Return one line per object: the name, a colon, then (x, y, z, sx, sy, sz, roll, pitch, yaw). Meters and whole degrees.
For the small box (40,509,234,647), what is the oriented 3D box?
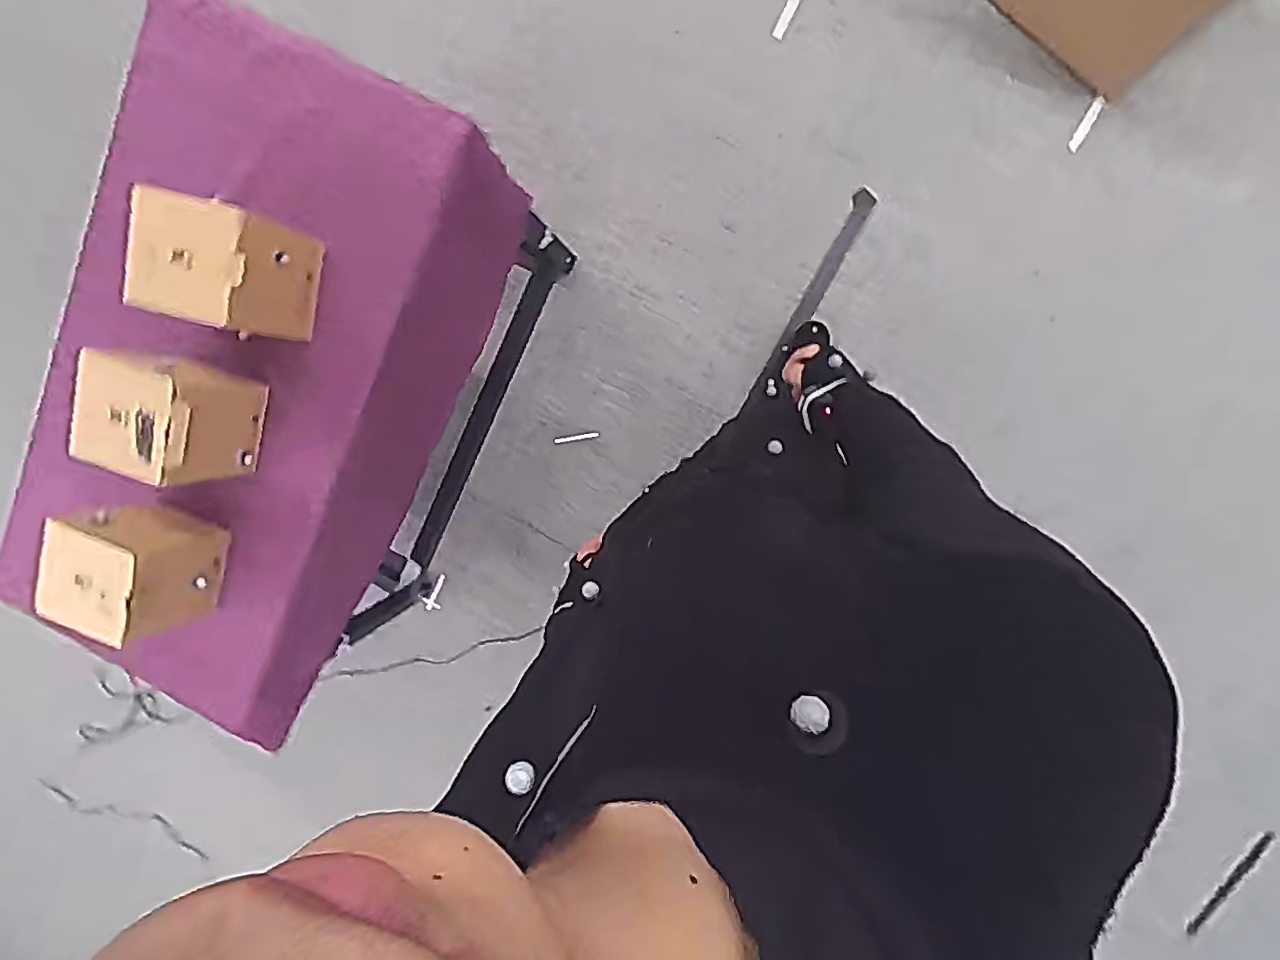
small box: (-0.872, 0.158, 0.948, 0.179, 0.176, 0.168, 19, 100, 5)

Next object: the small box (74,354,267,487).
small box: (-0.768, -0.101, 0.900, 0.179, 0.176, 0.168, 17, 99, 7)

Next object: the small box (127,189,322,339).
small box: (-0.643, -0.327, 0.853, 0.179, 0.176, 0.168, 15, 99, 7)
